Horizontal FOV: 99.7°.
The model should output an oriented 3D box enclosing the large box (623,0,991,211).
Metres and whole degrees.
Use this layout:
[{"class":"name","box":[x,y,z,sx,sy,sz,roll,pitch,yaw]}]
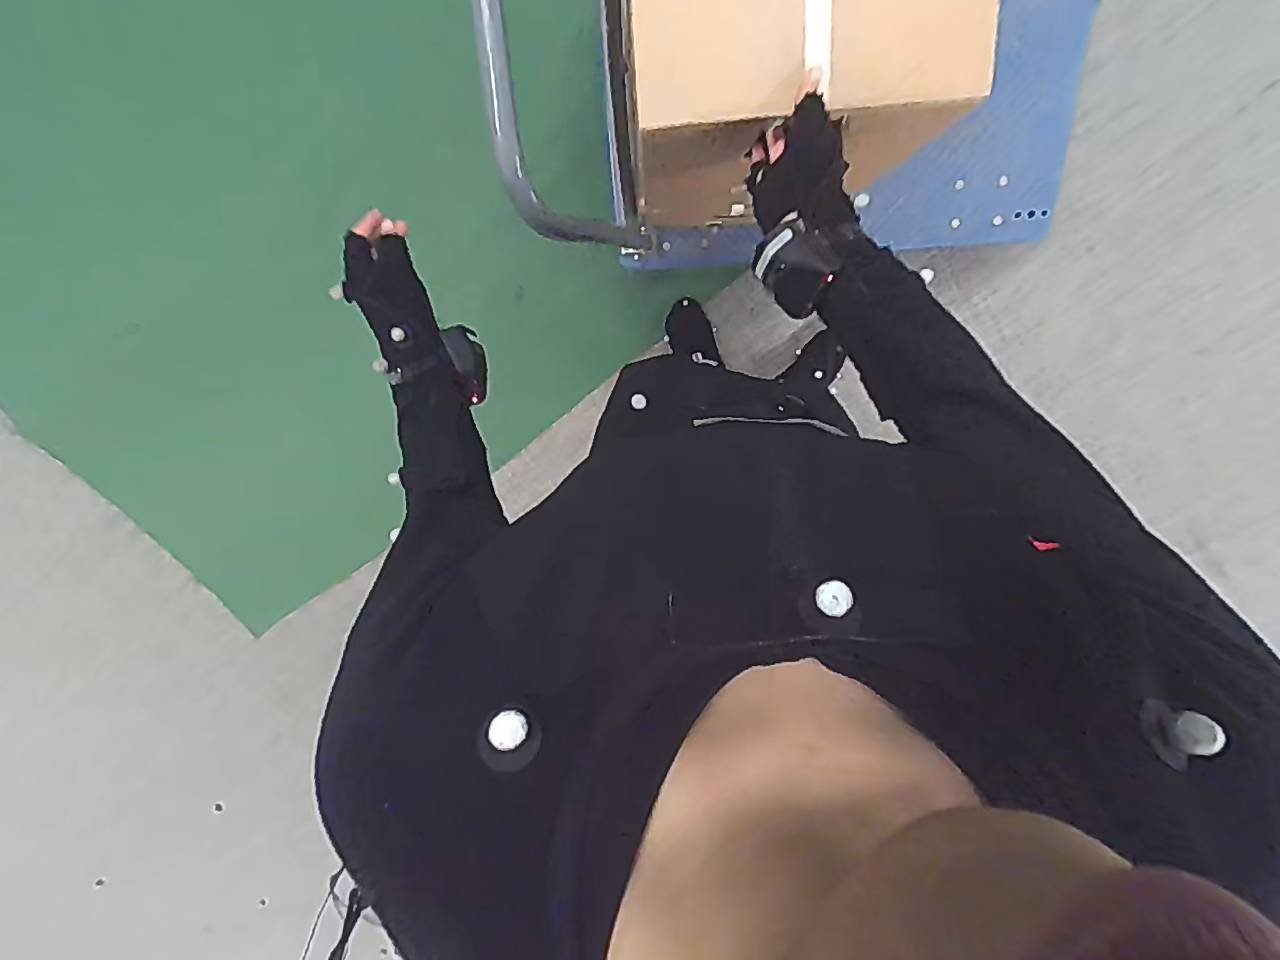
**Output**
[{"class":"large box","box":[0.140,-0.555,0.580,0.320,0.320,0.408,-3,102,2]}]
